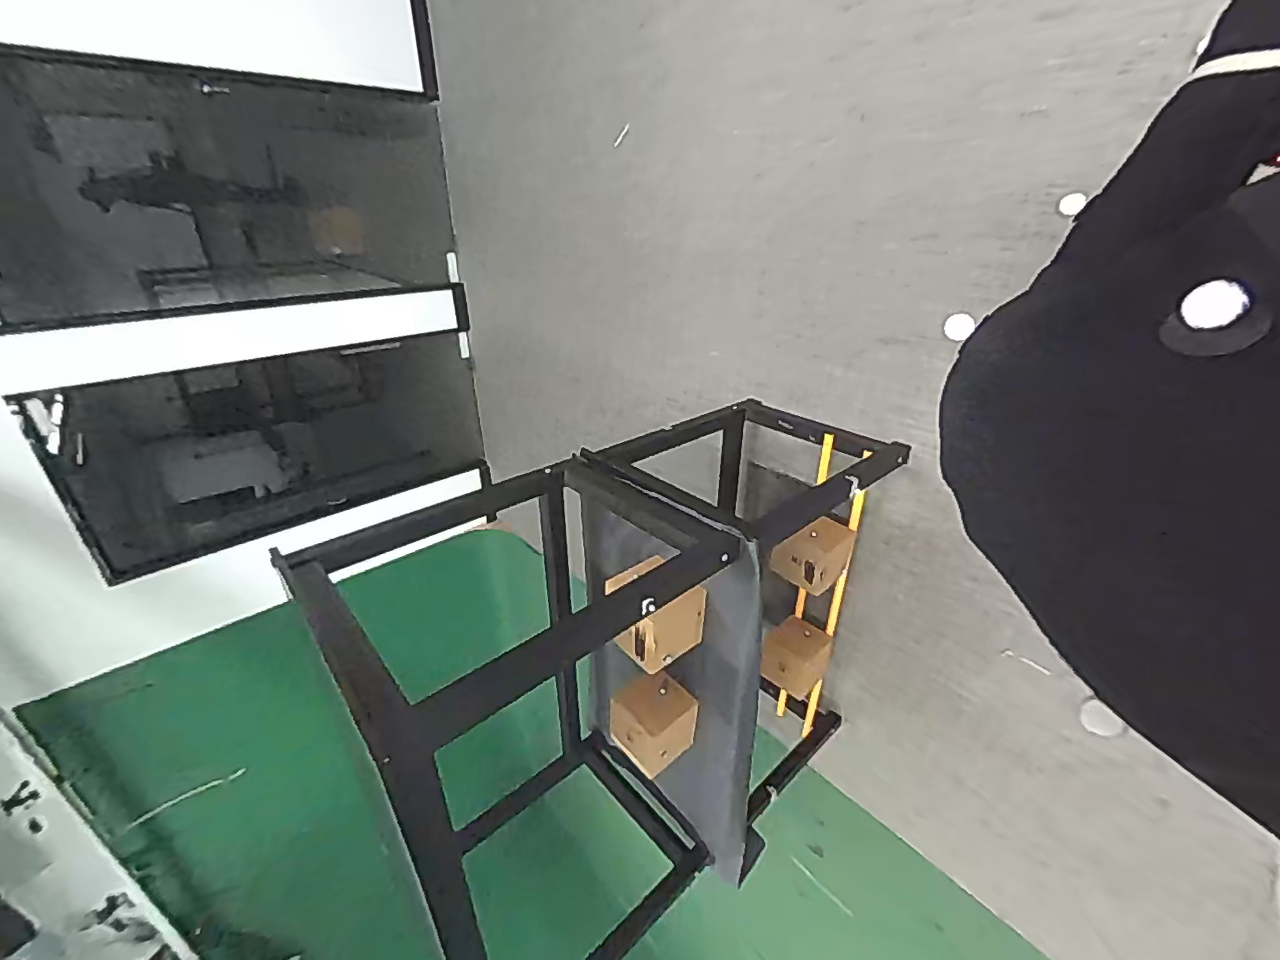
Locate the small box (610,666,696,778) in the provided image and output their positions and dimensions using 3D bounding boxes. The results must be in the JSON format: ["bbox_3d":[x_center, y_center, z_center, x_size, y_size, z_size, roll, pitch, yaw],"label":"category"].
[{"bbox_3d":[0.035,0.646,1.456,0.168,0.176,0.179,30,130,39],"label":"small box"}]

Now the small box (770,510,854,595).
[{"bbox_3d":[0.529,0.215,1.662,0.179,0.176,0.168,30,130,39],"label":"small box"}]
